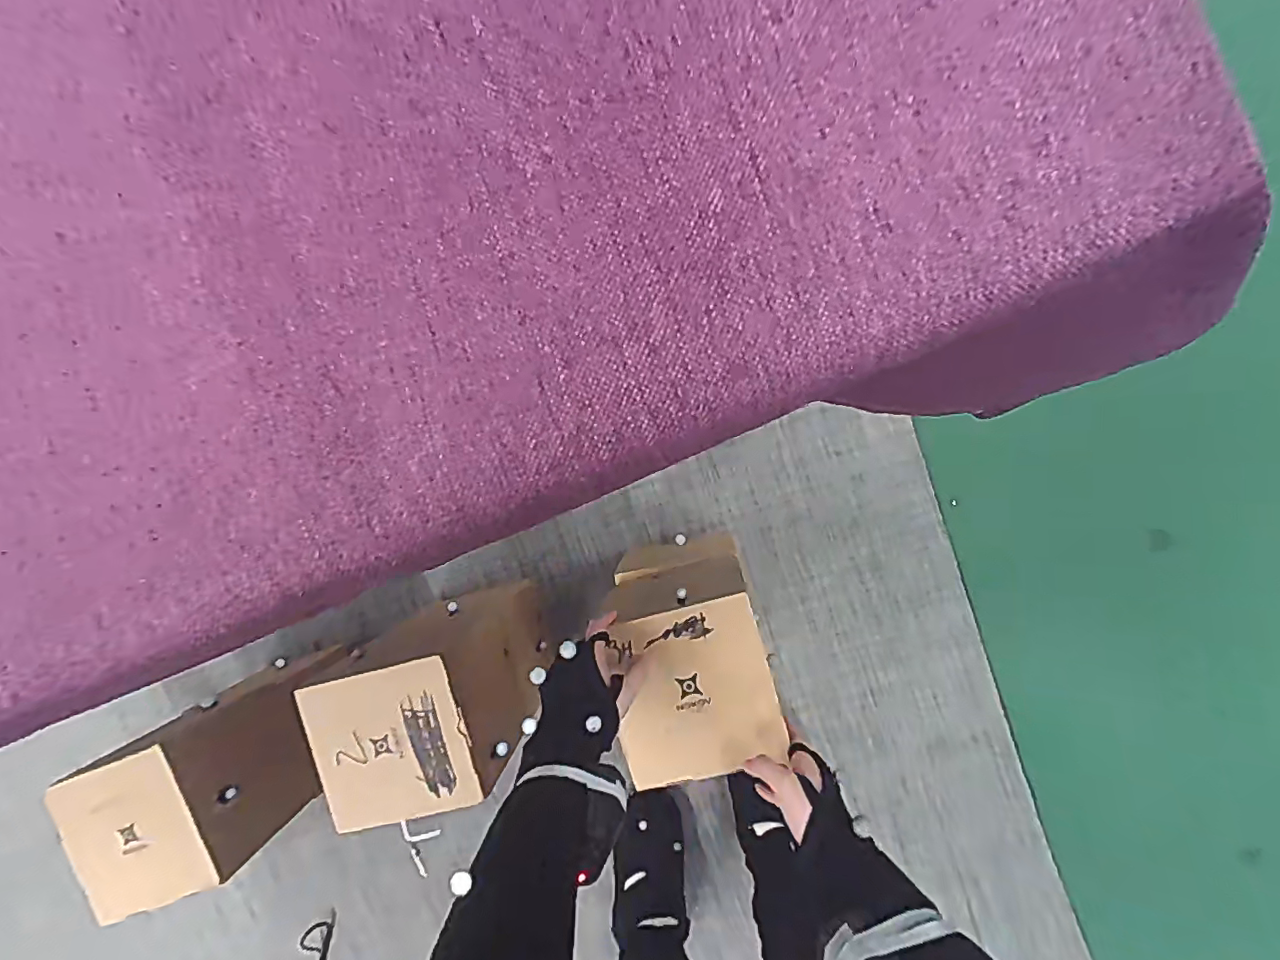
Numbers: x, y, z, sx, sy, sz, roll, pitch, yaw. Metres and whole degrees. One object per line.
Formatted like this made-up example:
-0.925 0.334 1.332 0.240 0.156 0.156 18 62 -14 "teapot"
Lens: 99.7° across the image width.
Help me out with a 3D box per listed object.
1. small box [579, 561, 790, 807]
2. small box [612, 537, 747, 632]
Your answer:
0.048 0.215 0.613 0.168 0.176 0.179 -22 95 3 "small box"
0.065 0.191 0.783 0.168 0.176 0.179 -11 92 6 "small box"
